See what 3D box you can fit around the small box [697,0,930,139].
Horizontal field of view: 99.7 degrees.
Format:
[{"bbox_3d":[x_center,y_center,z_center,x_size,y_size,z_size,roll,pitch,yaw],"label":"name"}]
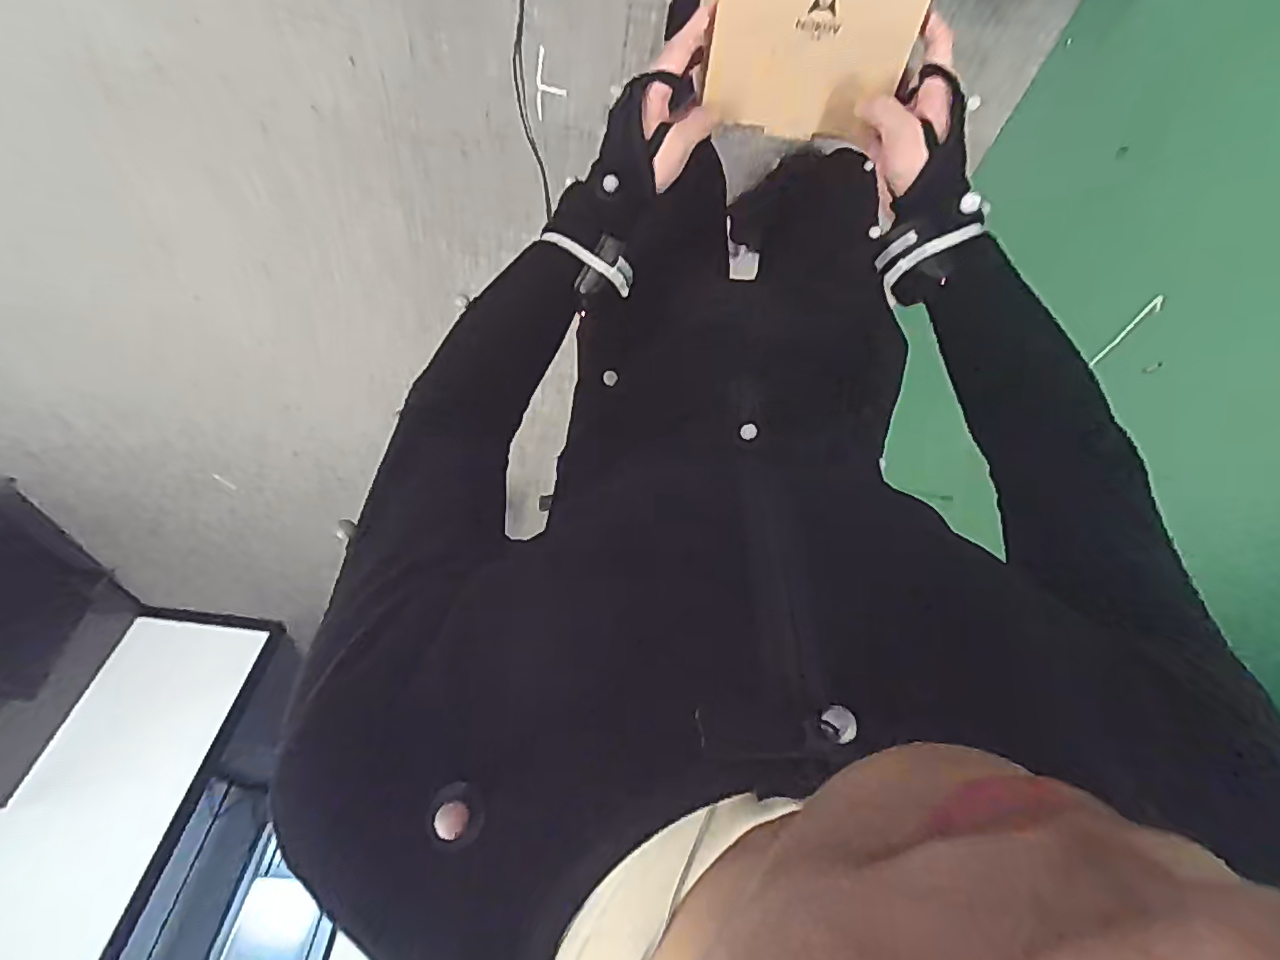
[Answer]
[{"bbox_3d":[0.145,-0.436,0.472,0.168,0.176,0.179,4,143,-4],"label":"small box"}]
